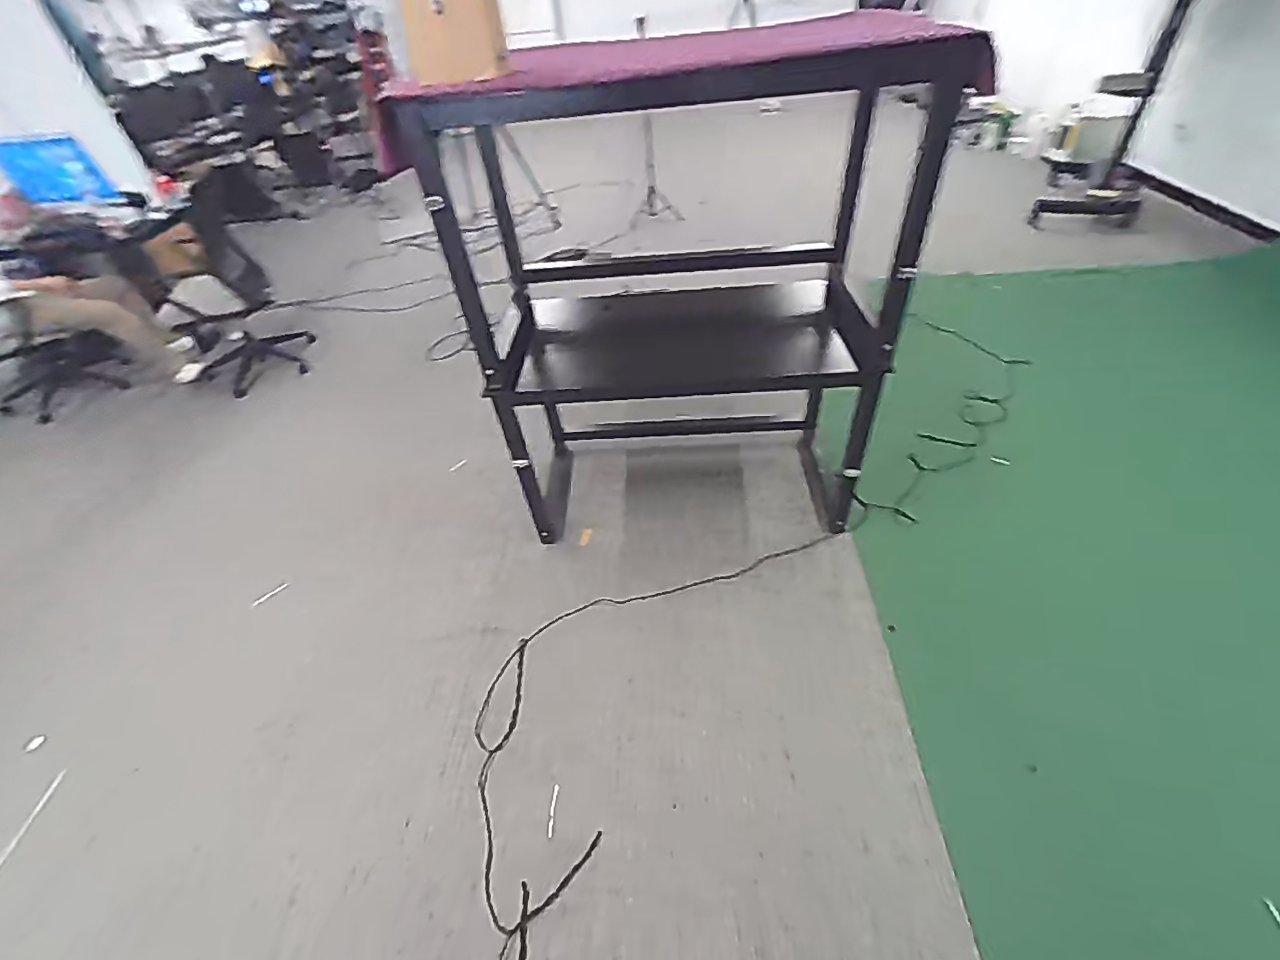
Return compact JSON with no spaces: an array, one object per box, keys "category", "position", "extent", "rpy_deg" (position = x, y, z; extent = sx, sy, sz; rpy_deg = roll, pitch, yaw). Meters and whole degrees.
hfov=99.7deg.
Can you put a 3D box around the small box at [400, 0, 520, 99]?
[{"category":"small box","position":[-0.373,-0.932,1.157],"extent":[0.179,0.176,0.168],"rpy_deg":[-2,43,3]}]
